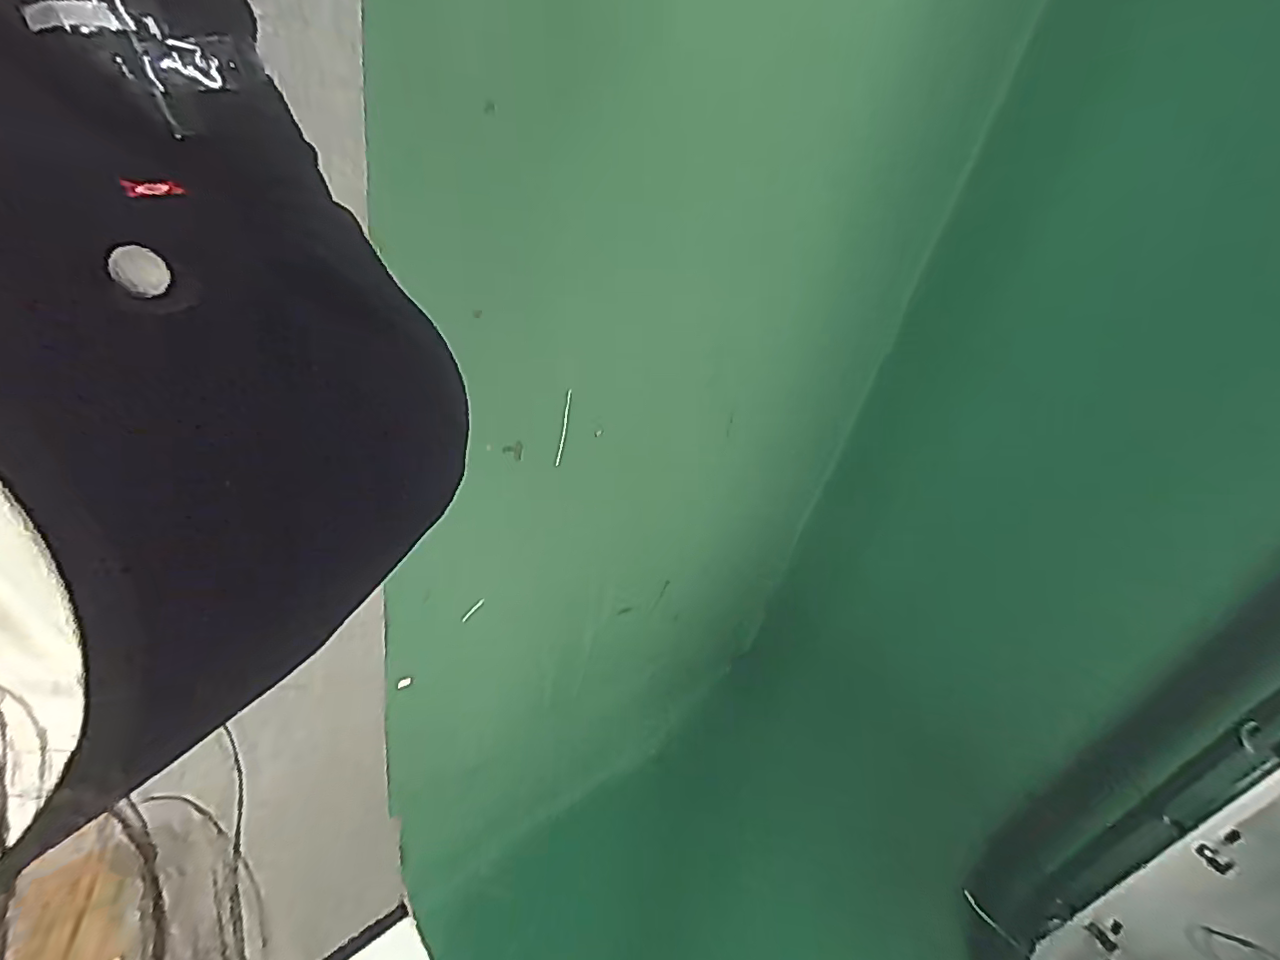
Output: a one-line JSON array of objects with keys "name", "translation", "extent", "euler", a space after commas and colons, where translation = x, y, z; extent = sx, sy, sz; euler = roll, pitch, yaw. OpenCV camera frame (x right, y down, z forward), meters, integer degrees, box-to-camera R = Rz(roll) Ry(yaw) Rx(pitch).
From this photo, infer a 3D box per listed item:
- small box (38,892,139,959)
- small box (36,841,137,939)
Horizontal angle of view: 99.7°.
[{"name": "small box", "translation": [-1.497, 1.290, 1.471], "extent": [0.179, 0.176, 0.168], "euler": [-13, 130, -43]}, {"name": "small box", "translation": [-1.602, 1.209, 1.567], "extent": [0.179, 0.176, 0.168], "euler": [-17, 132, -43]}]
